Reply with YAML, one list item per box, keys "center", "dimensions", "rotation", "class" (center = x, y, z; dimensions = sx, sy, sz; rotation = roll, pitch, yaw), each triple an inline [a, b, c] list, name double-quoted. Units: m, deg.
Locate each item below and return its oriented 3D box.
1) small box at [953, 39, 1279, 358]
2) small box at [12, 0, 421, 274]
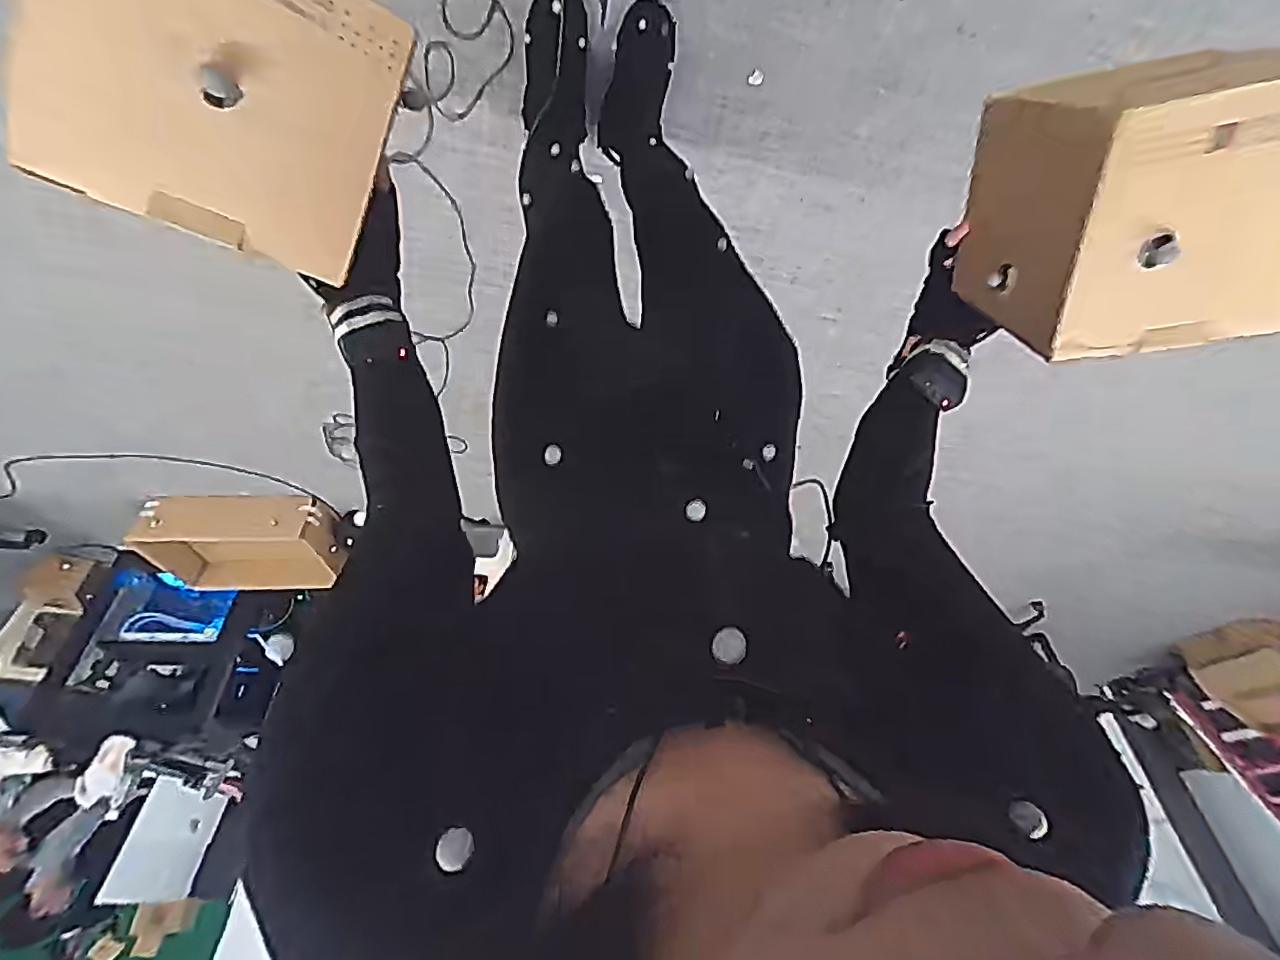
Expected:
- center: [0.372, -0.217, 0.414]
  dimensions: [0.168, 0.179, 0.176]
  rotation: [-7, 126, 7]
  class: "small box"
- center: [-0.258, -0.270, 0.362]
  dimensions: [0.168, 0.179, 0.176]
  rotation: [18, 114, -32]
  class: "small box"
